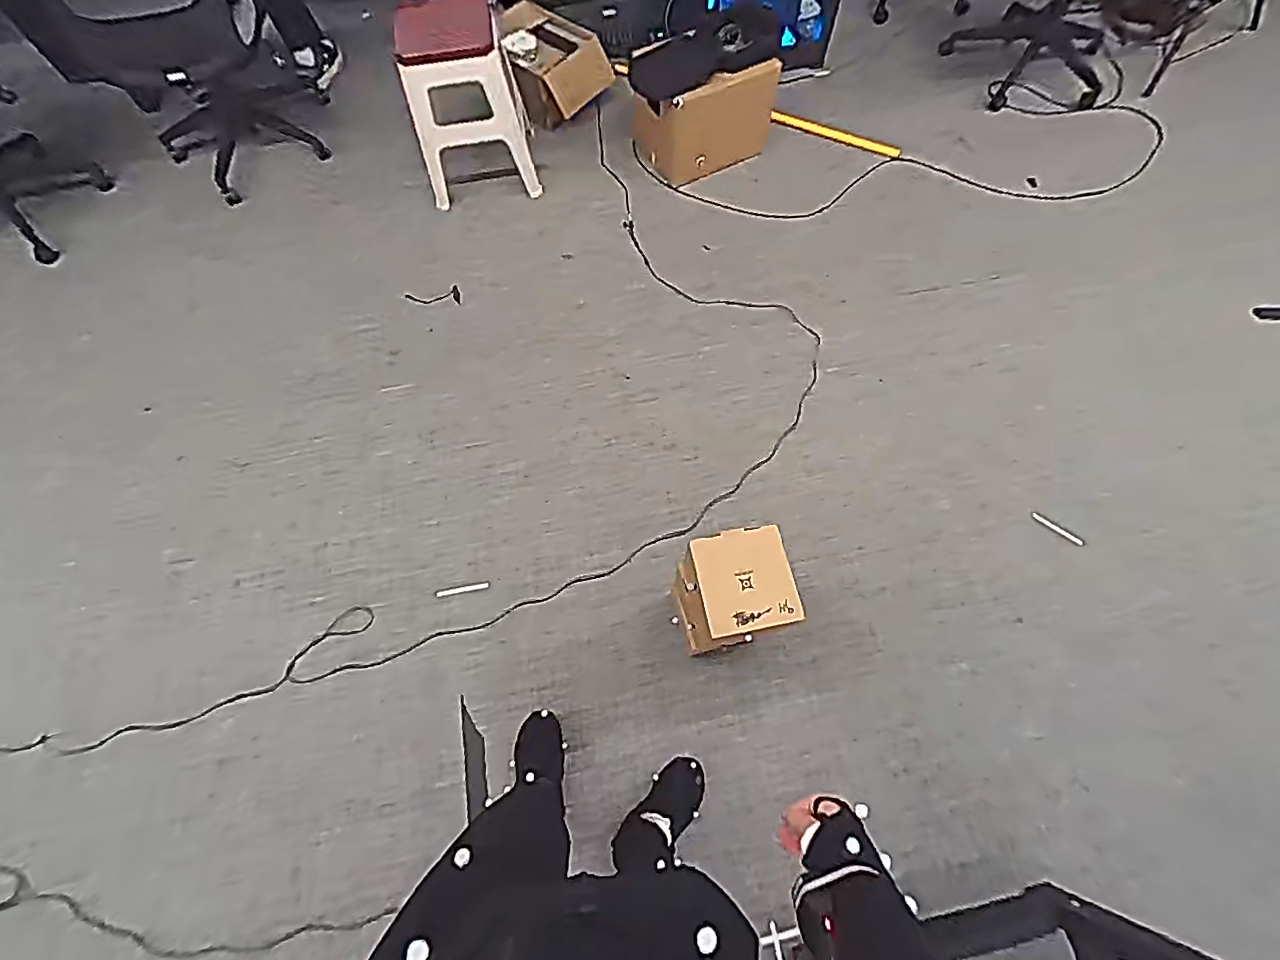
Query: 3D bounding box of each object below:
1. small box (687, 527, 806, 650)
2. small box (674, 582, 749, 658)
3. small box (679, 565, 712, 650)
[{"bbox_3d":[0.188,0.207,1.015,0.168,0.176,0.179,-11,67,-3],"label":"small box"},{"bbox_3d":[0.187,0.326,1.319,0.179,0.176,0.168,-15,67,-4],"label":"small box"},{"bbox_3d":[0.190,0.259,1.172,0.179,0.176,0.168,-17,69,-8],"label":"small box"}]
